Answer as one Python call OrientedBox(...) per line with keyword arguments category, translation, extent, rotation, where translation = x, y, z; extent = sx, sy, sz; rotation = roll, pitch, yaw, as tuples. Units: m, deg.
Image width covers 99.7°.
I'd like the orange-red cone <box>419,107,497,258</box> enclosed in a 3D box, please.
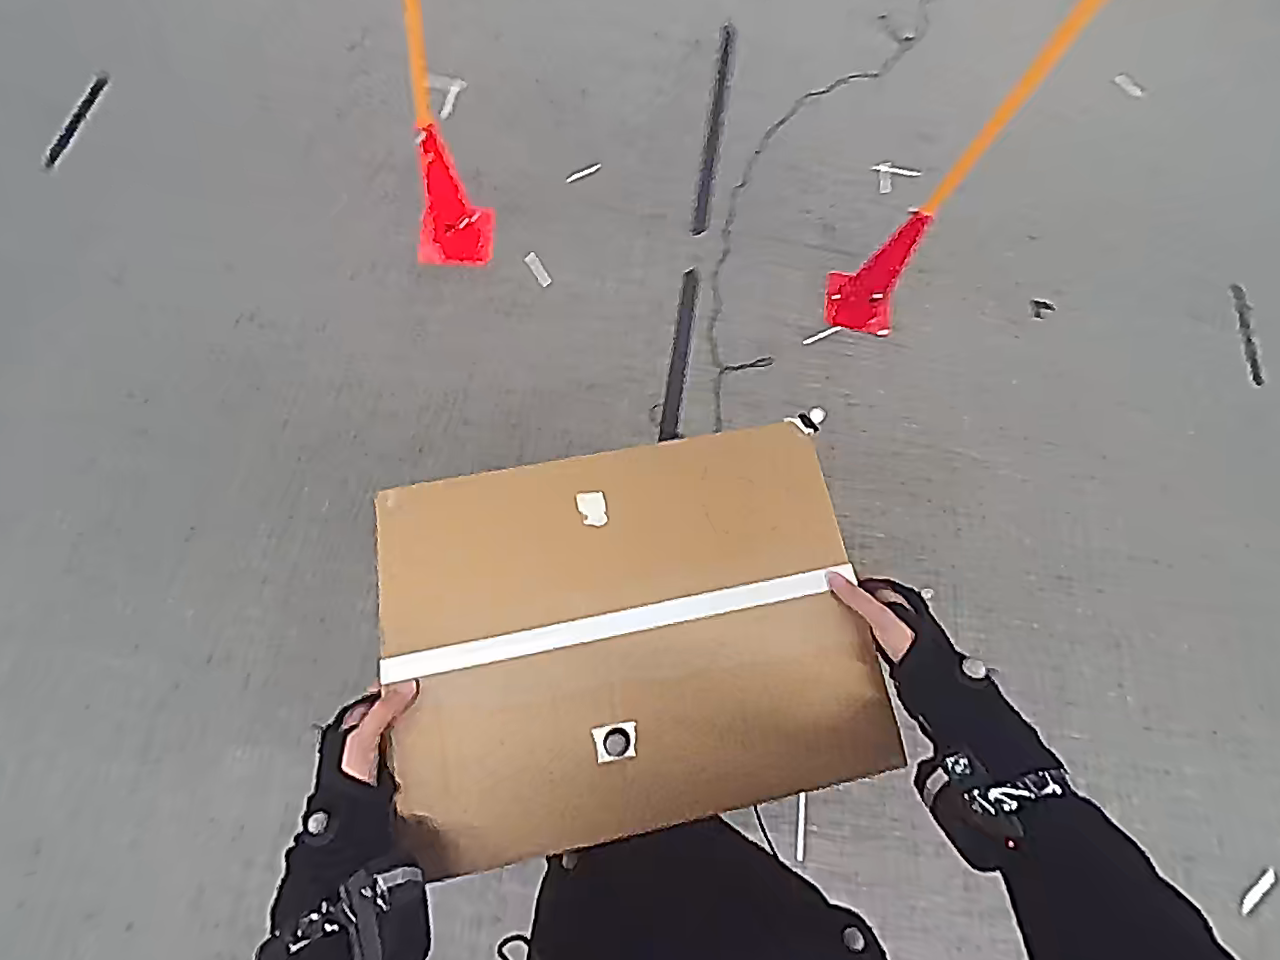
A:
OrientedBox(category="orange-red cone", translation=(-0.504, -0.779, 1.395), extent=(0.199, 0.360, 0.198), rotation=(1, 71, -5))
